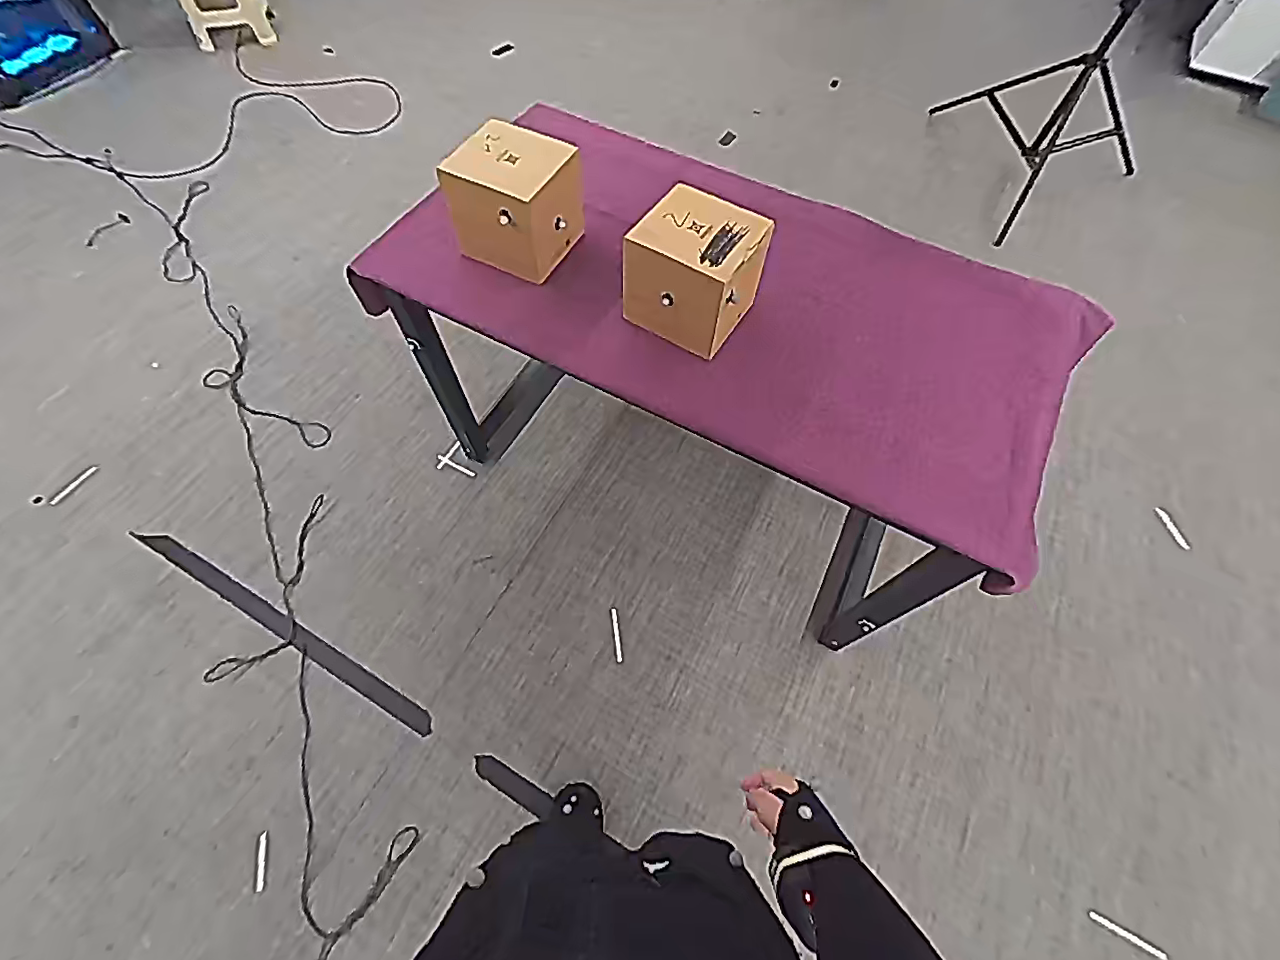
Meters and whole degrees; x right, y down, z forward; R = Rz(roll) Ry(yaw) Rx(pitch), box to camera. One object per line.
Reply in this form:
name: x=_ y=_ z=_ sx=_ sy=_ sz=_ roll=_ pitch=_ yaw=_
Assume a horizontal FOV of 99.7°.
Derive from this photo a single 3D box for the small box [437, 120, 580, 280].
small box: x=-0.217 y=-0.485 z=0.953 sx=0.179 sy=0.176 sz=0.168 roll=24 pitch=63 yaw=10
